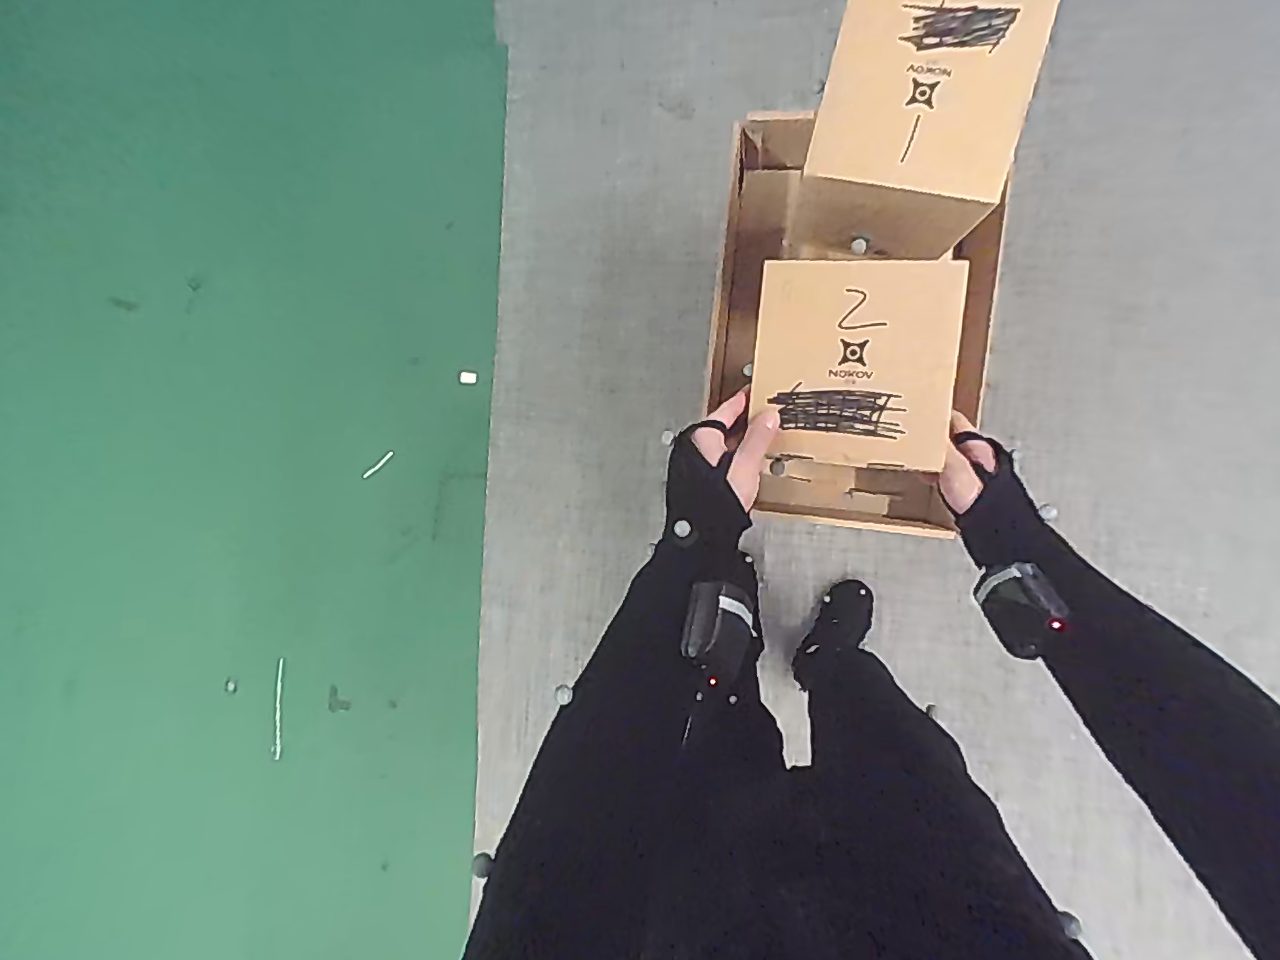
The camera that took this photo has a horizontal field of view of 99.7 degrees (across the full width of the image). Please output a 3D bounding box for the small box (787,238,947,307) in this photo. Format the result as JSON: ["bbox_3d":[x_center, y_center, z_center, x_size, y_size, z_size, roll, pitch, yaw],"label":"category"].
[{"bbox_3d":[0.287,-0.338,0.700,0.168,0.176,0.179,5,93,10],"label":"small box"}]

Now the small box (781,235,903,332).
[{"bbox_3d":[0.318,-0.346,0.859,0.168,0.176,0.179,5,93,11],"label":"small box"}]

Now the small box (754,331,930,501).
[{"bbox_3d":[0.249,-0.078,0.707,0.168,0.176,0.179,12,94,11],"label":"small box"}]

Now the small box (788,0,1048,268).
[{"bbox_3d":[0.252,-0.337,0.540,0.168,0.176,0.179,14,96,10],"label":"small box"}]
